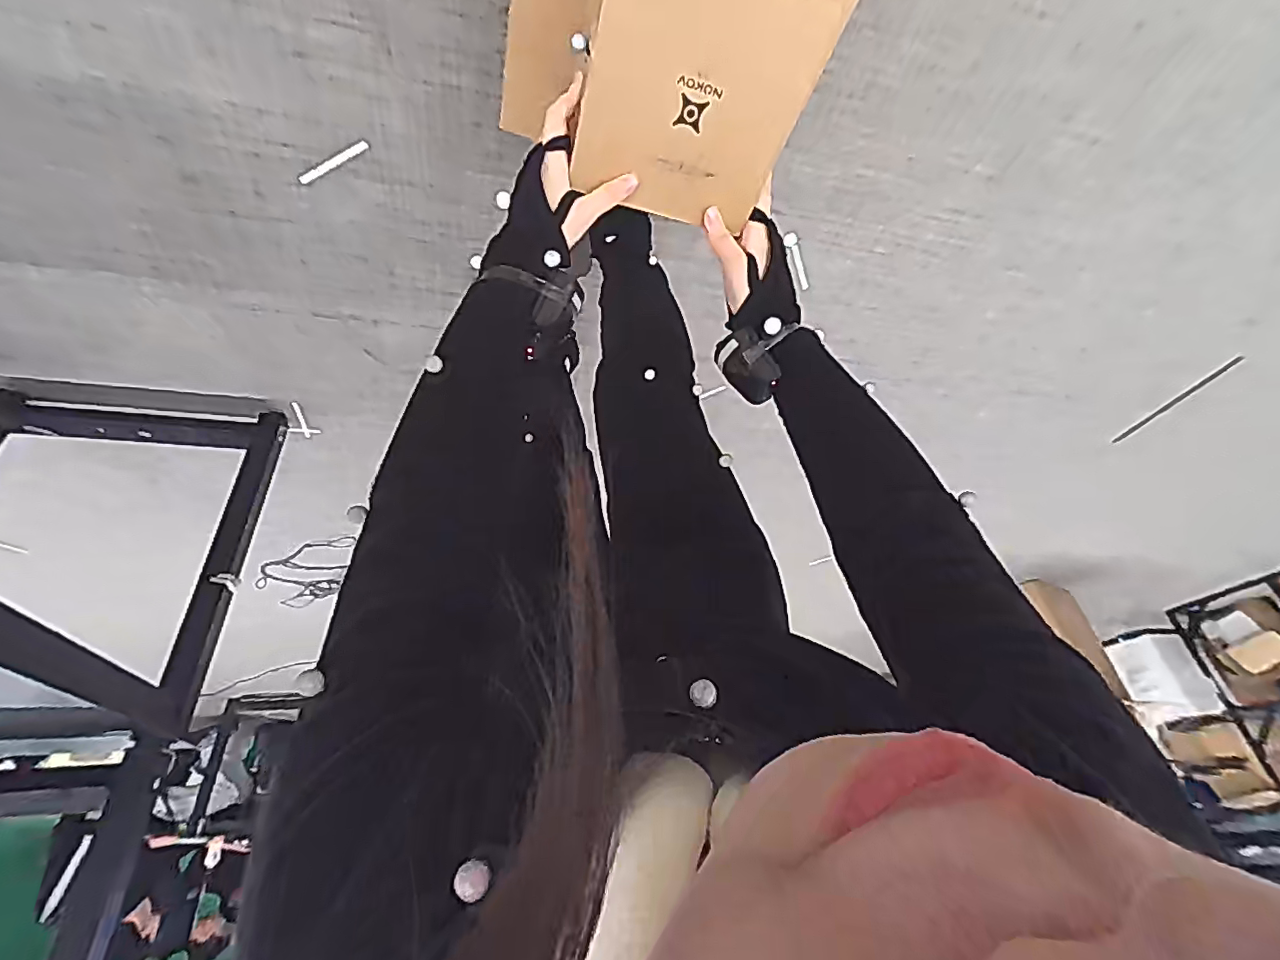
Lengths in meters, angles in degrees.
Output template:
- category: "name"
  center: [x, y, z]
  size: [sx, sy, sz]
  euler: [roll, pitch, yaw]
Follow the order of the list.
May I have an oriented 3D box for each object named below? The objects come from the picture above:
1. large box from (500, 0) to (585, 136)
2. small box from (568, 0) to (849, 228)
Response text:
- category: "large box"
  center: [0.042, -0.599, 0.541]
  size: [0.320, 0.320, 0.408]
  euler: [5, 145, -19]
- category: "small box"
  center: [0.035, -0.356, 0.454]
  size: [0.168, 0.176, 0.179]
  euler: [8, 143, -17]
